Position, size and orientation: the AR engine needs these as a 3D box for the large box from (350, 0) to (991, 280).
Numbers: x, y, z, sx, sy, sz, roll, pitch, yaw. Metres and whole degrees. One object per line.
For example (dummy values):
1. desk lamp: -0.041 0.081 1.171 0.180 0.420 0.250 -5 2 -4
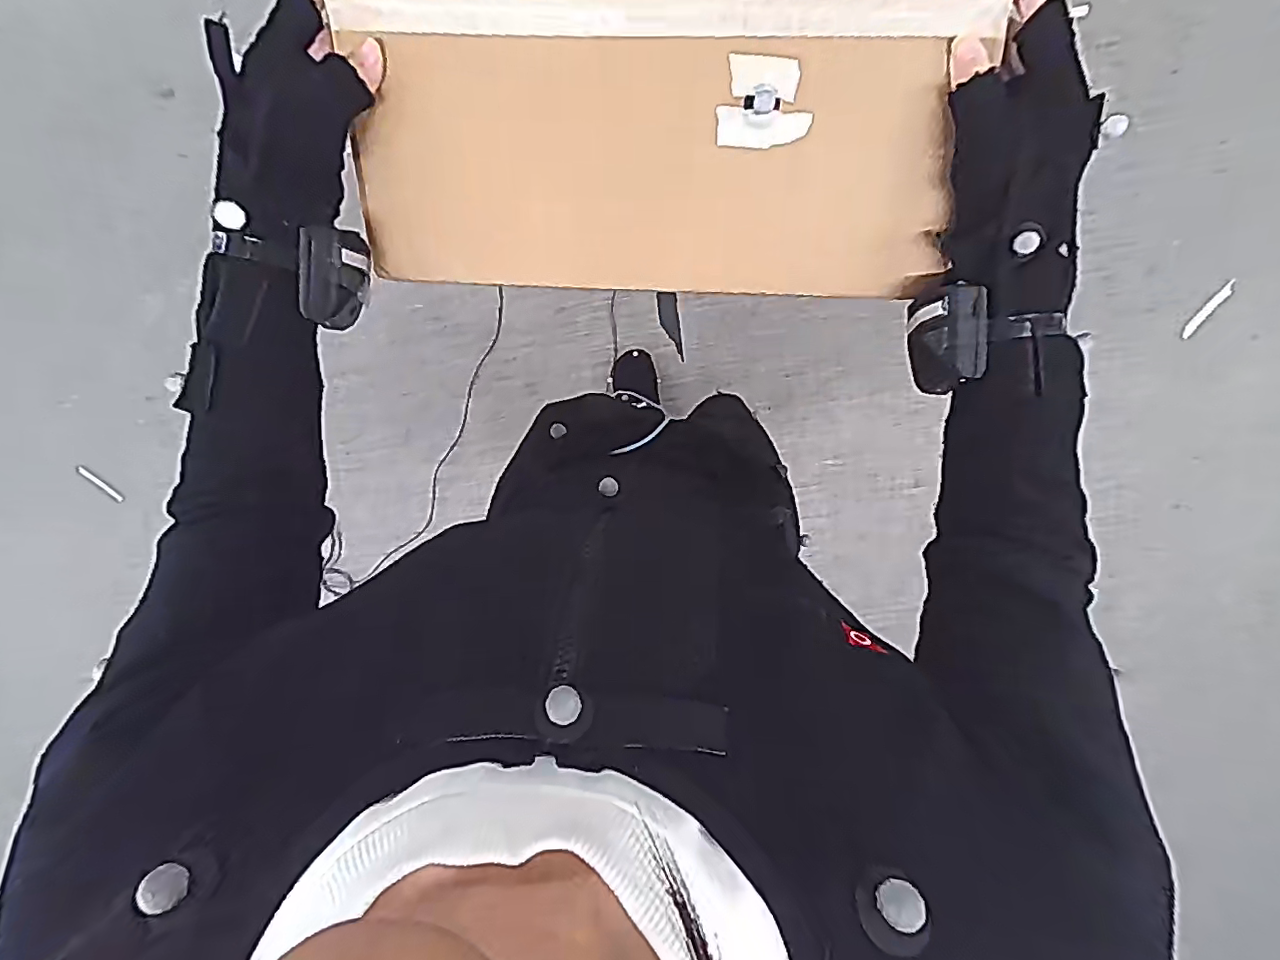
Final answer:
1. large box: 0.020 -0.352 0.469 0.408 0.320 0.320 2 116 2
